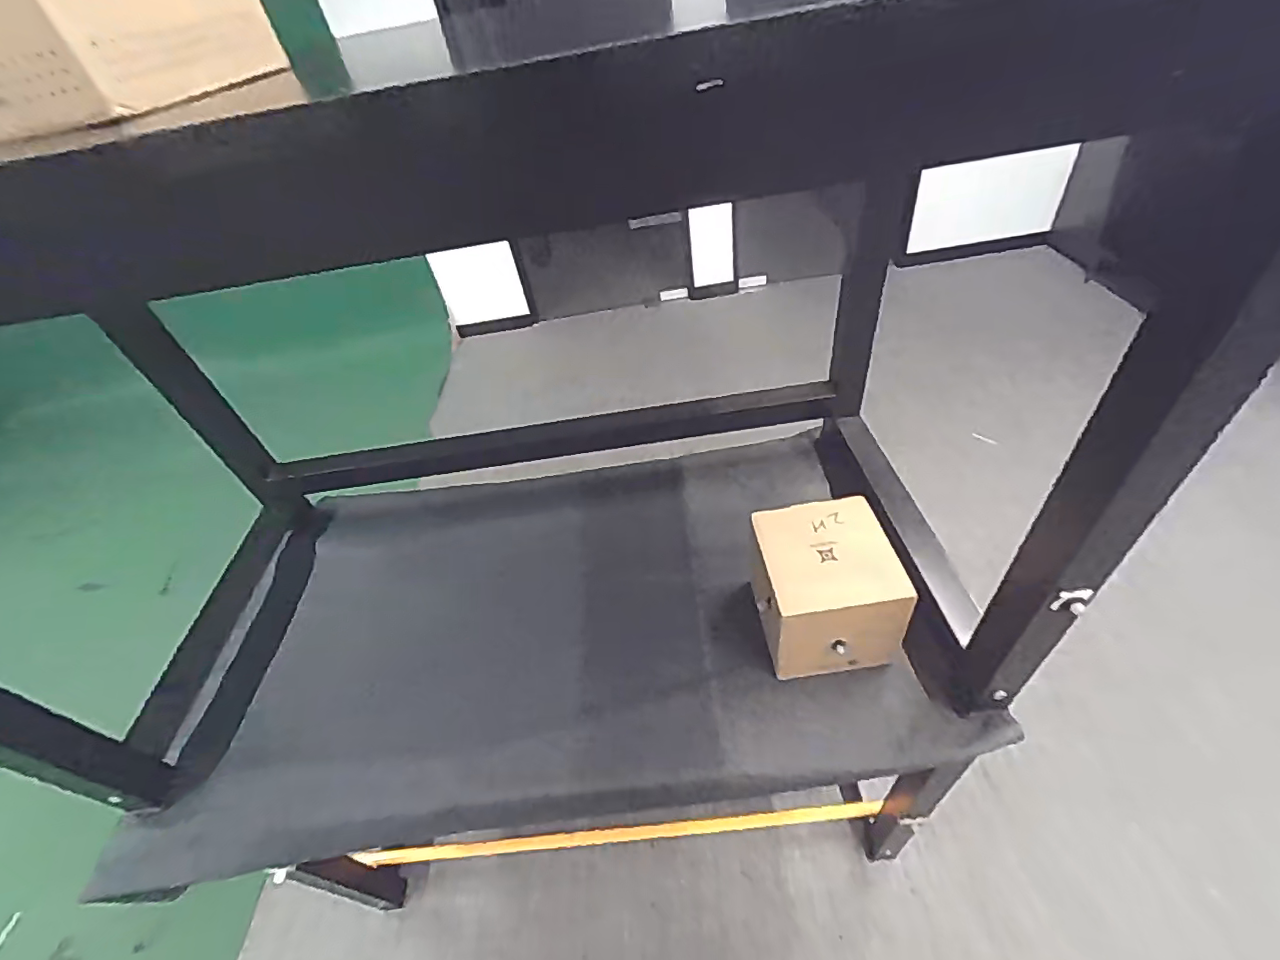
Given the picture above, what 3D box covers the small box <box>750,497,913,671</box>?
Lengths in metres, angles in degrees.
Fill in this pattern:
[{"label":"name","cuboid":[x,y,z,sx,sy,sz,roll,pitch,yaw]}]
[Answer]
[{"label":"small box","cuboid":[0.257,0.154,0.768,0.168,0.176,0.179,-9,43,2]}]
